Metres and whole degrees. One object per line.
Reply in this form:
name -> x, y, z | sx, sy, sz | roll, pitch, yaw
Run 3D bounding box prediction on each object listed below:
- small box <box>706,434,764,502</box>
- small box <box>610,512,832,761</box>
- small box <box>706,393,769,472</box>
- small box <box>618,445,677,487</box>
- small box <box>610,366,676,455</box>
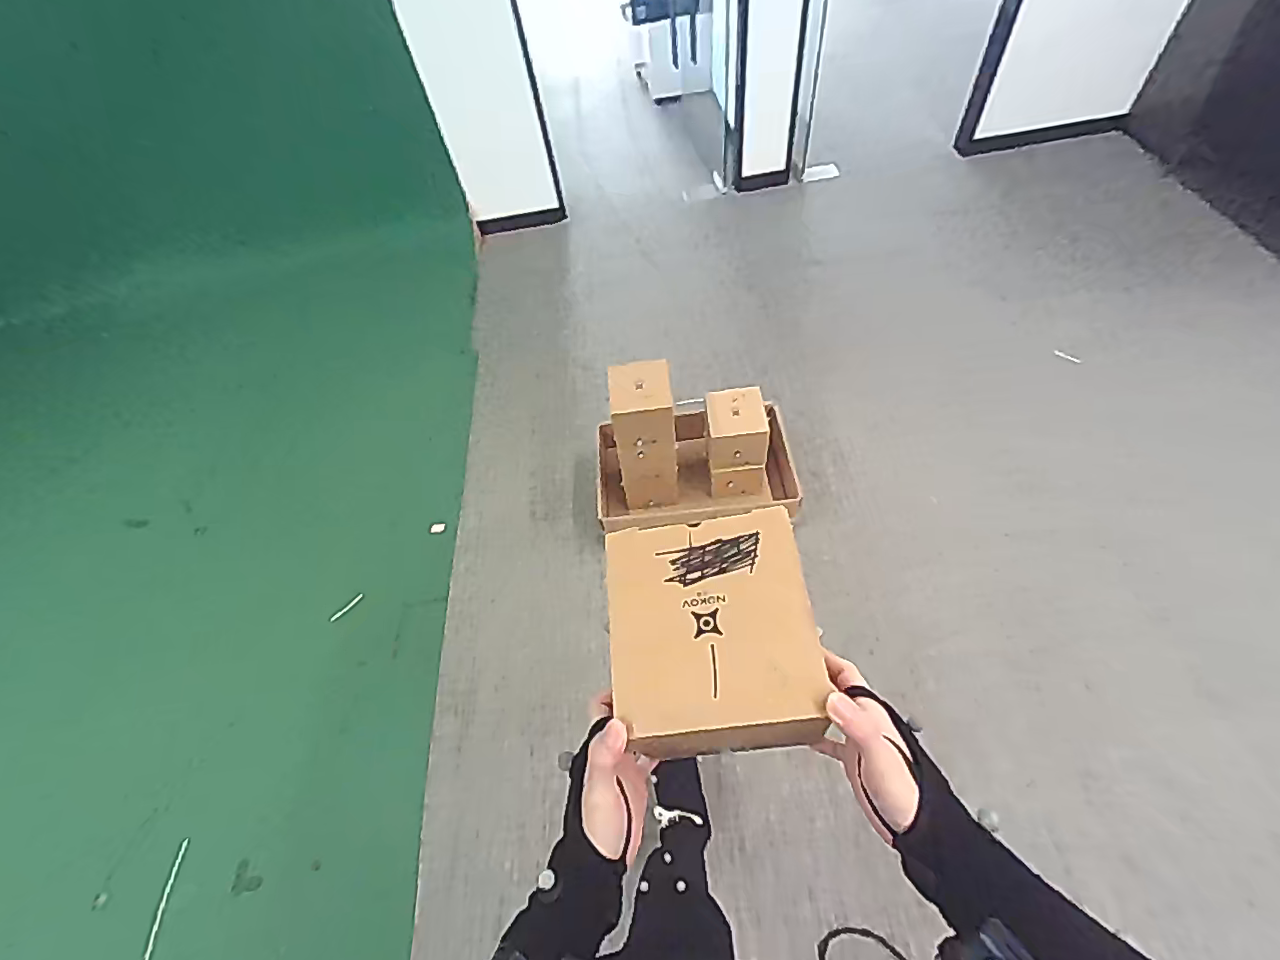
small box -> 0.309, -0.040, 1.763 | 0.168, 0.176, 0.179 | -6, 55, 5
small box -> 0.070, 0.154, 0.509 | 0.168, 0.176, 0.179 | -9, 57, 8
small box -> 0.291, -0.135, 1.629 | 0.168, 0.176, 0.179 | -5, 55, 5
small box -> 0.022, -0.099, 1.637 | 0.168, 0.176, 0.179 | -7, 55, 2
small box -> 0.008, -0.190, 1.502 | 0.168, 0.176, 0.179 | -6, 56, 3
